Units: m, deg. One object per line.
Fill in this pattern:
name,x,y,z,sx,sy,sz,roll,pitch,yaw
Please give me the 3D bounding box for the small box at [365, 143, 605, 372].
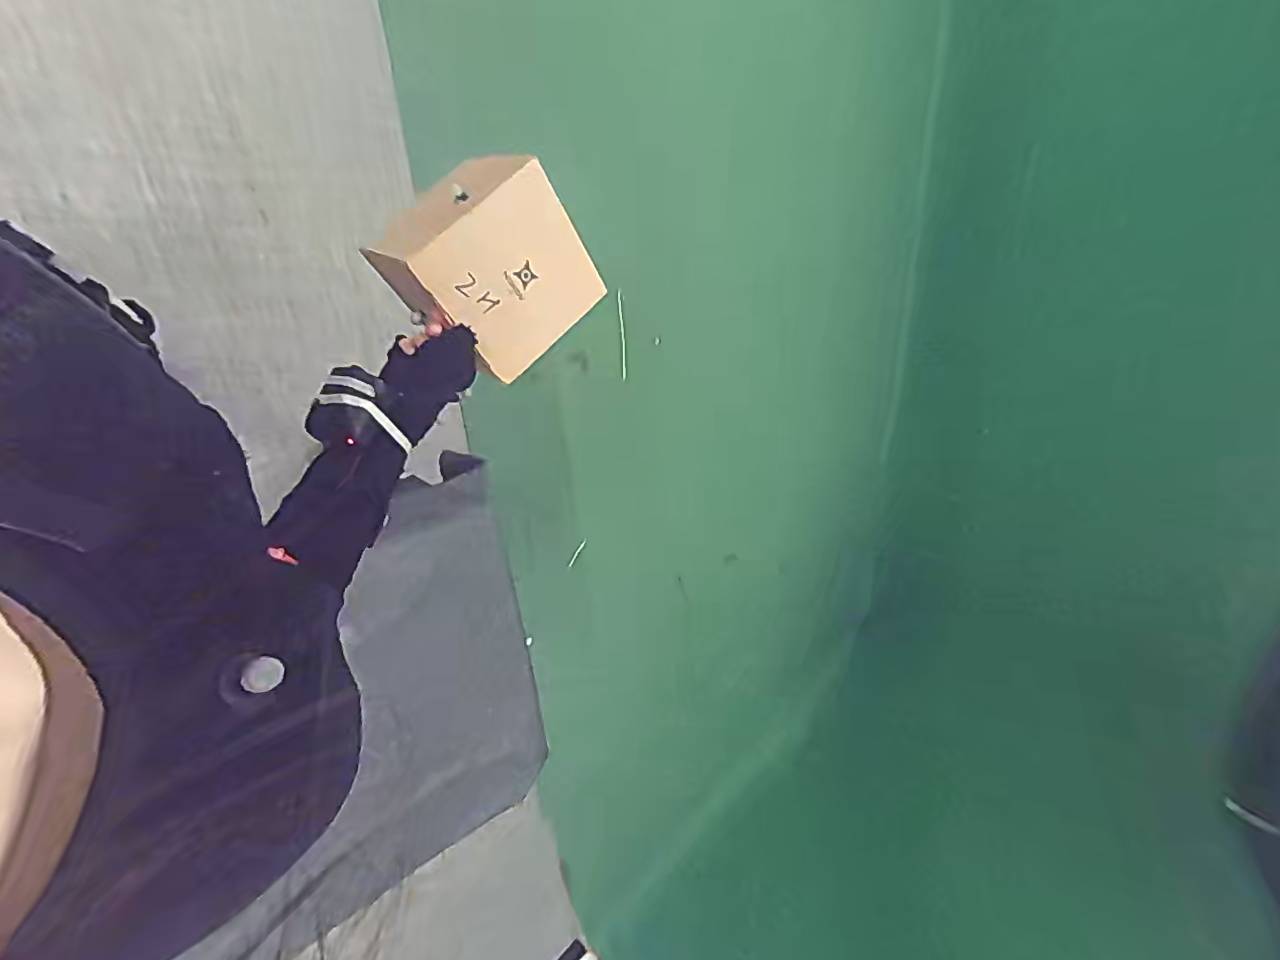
small box,-0.180,-0.260,0.628,0.179,0.176,0.168,-48,136,-12
